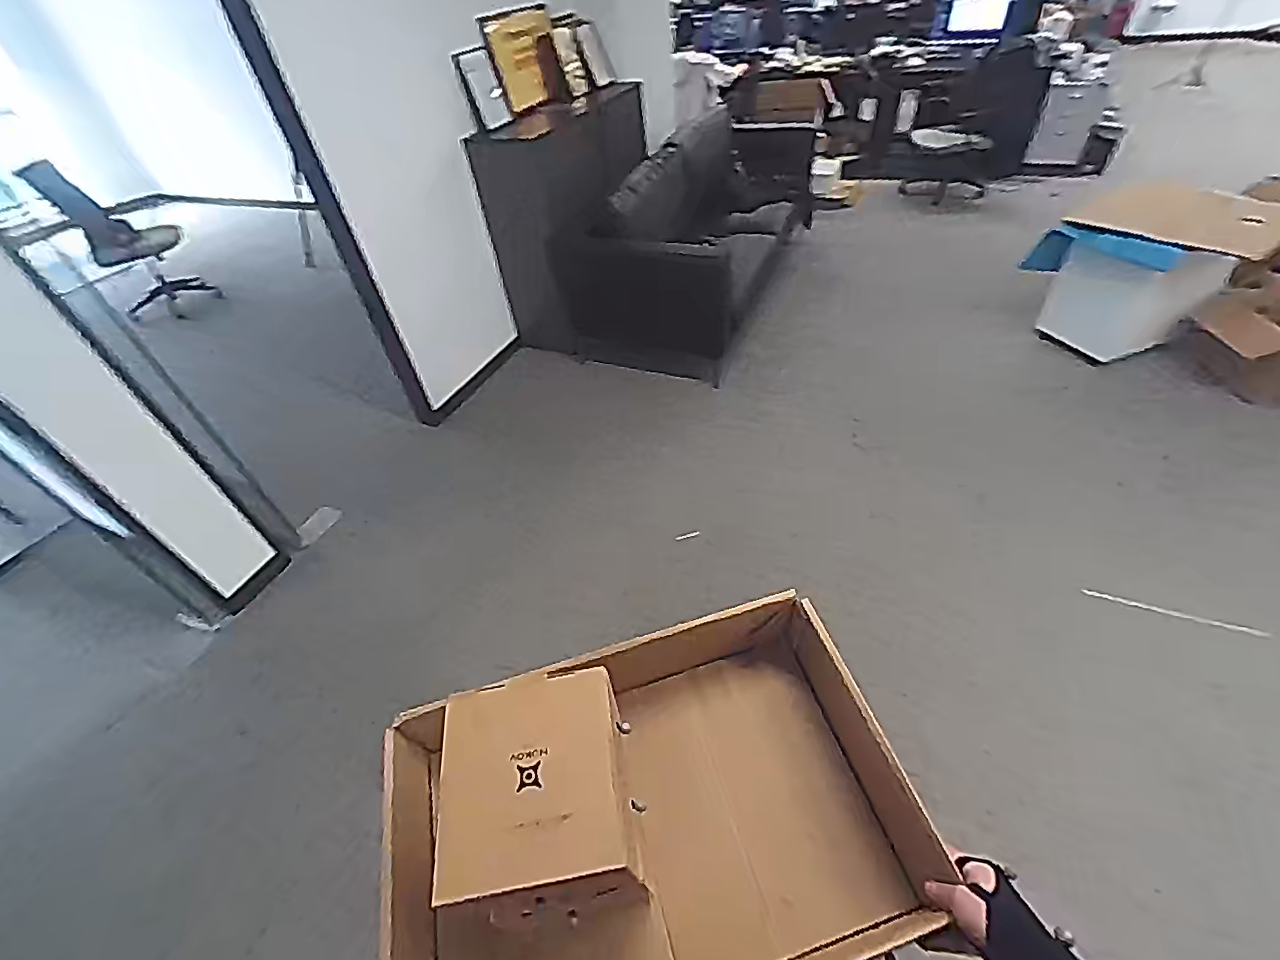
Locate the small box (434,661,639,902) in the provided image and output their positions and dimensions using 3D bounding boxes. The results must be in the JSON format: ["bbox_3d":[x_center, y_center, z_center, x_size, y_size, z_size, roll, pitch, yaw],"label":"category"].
[{"bbox_3d":[-0.095,0.314,0.562,0.168,0.176,0.179,-8,50,-2],"label":"small box"}]

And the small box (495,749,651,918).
[{"bbox_3d":[-0.083,0.425,0.683,0.168,0.176,0.179,-11,50,-5],"label":"small box"}]
